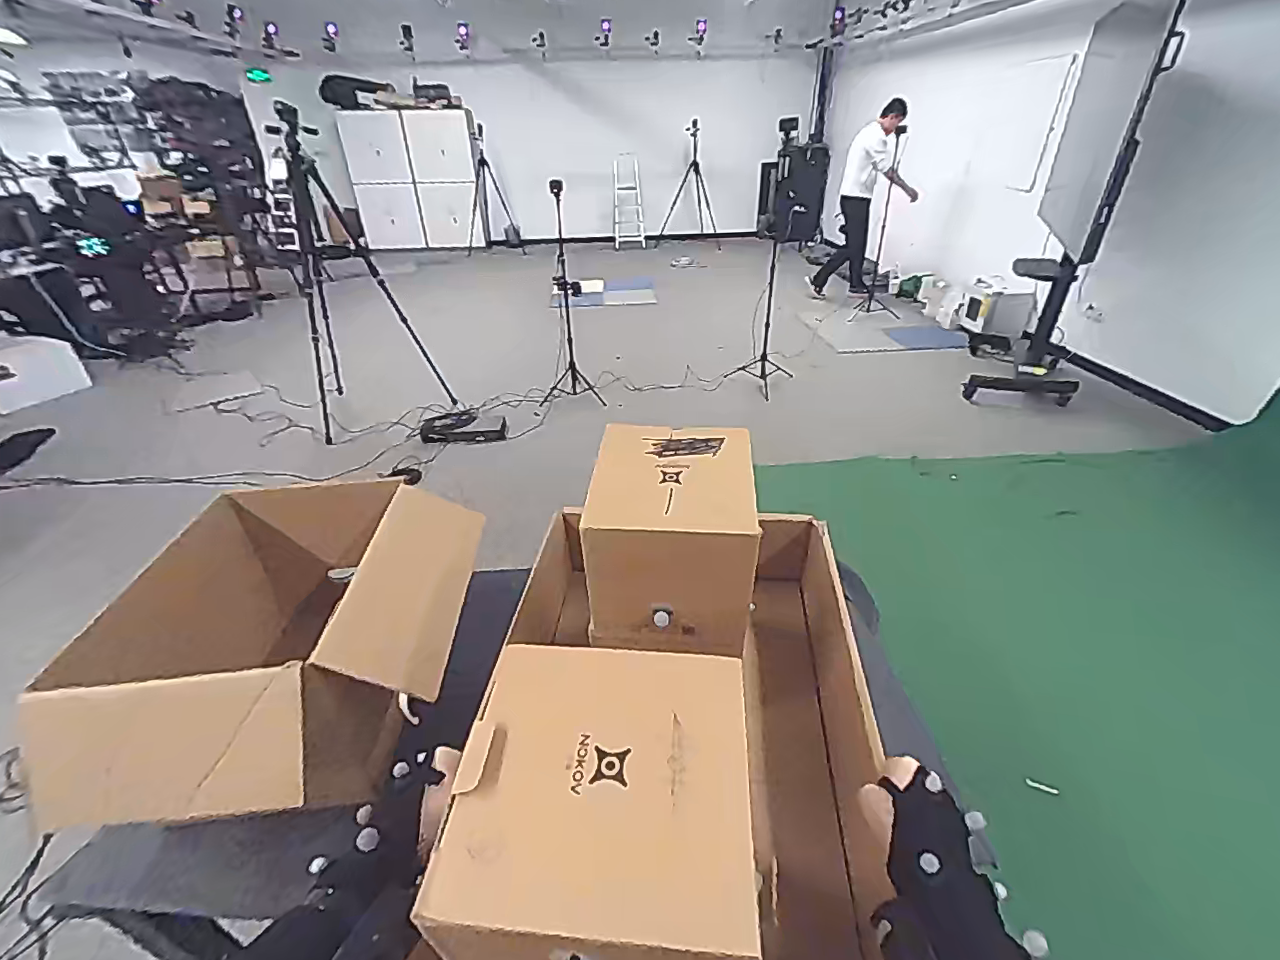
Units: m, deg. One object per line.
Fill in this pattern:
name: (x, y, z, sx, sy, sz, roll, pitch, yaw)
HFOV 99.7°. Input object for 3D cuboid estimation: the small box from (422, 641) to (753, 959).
small box: (-0.020, 0.237, 0.384, 0.179, 0.176, 0.168, 2, 38, 5)

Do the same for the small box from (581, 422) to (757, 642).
small box: (0.036, 0.054, 0.608, 0.168, 0.176, 0.179, 3, 40, 6)
